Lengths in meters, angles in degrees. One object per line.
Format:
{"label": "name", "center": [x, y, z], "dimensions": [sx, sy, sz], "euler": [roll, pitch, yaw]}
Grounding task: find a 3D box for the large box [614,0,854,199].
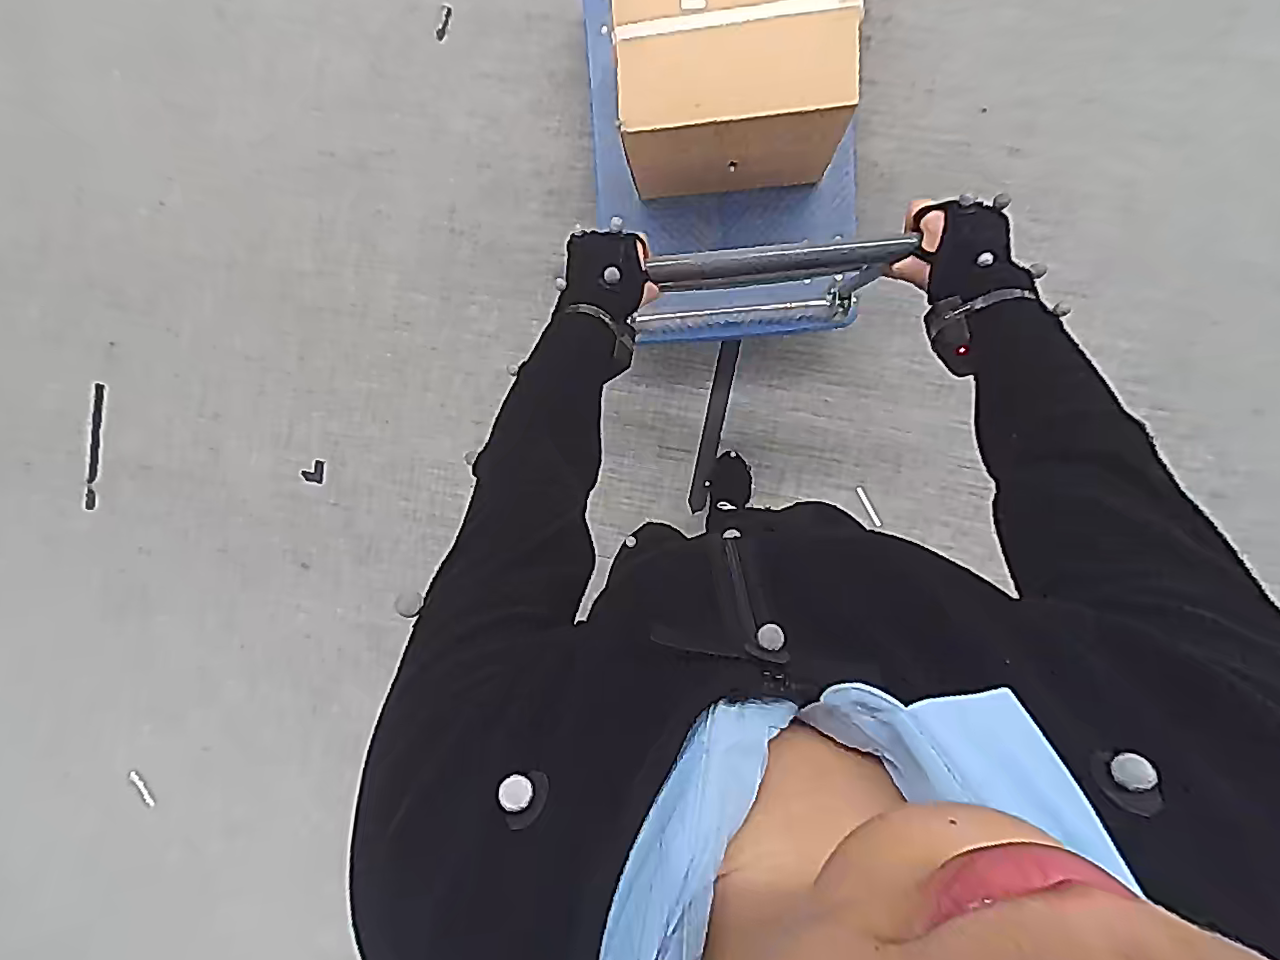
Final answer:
{"label": "large box", "center": [0.177, -0.794, 1.071], "dimensions": [0.408, 0.320, 0.320], "euler": [-3, 96, 8]}
